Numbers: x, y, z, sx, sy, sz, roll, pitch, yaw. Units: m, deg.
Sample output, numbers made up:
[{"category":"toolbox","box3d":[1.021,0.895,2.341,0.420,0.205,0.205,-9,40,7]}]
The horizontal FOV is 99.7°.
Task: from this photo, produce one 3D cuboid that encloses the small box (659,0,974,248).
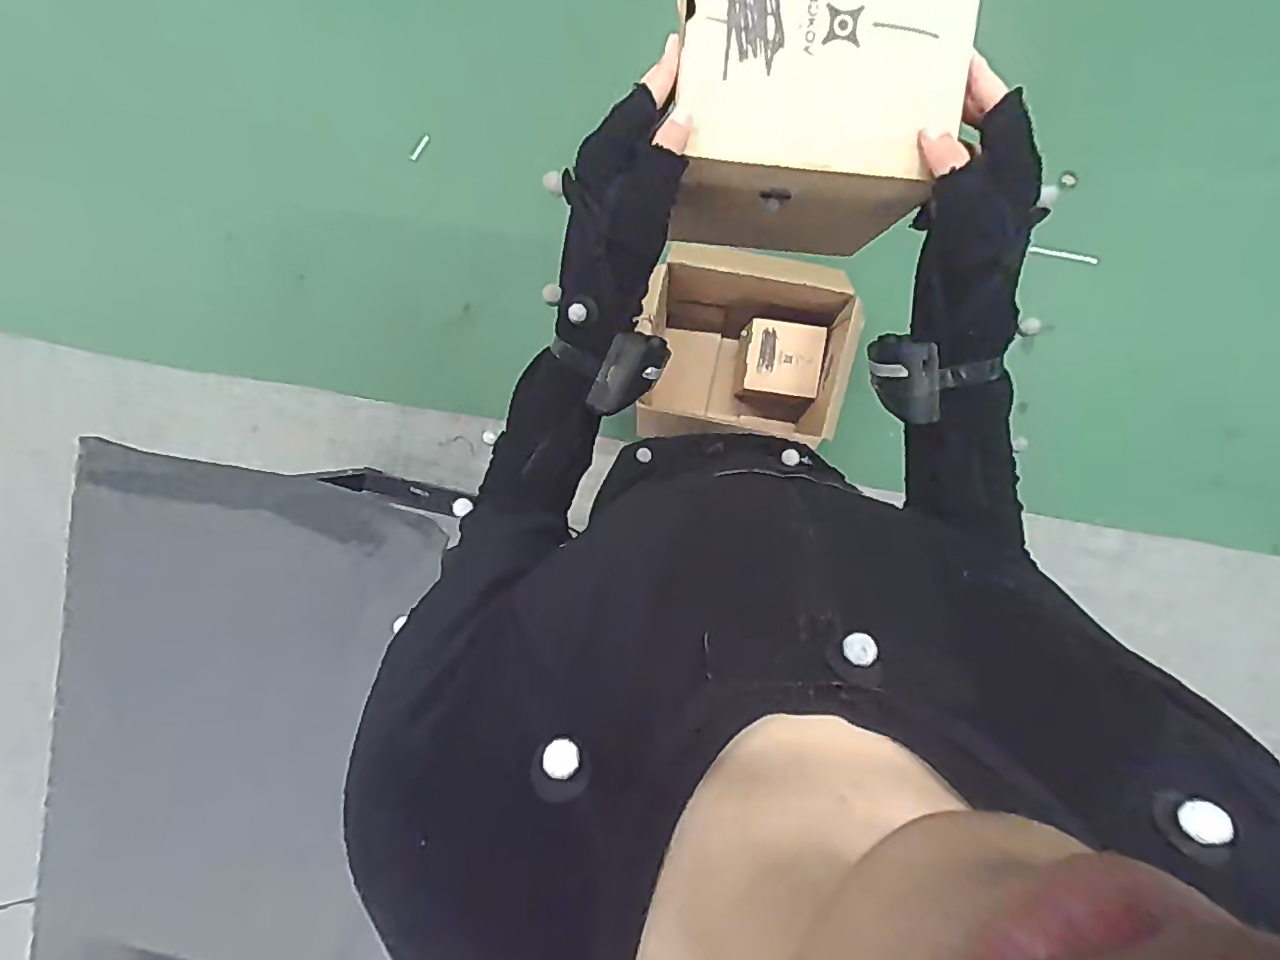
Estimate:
[{"category":"small box","box3d":[0.107,-0.281,0.394,0.179,0.176,0.168,5,98,0]}]
